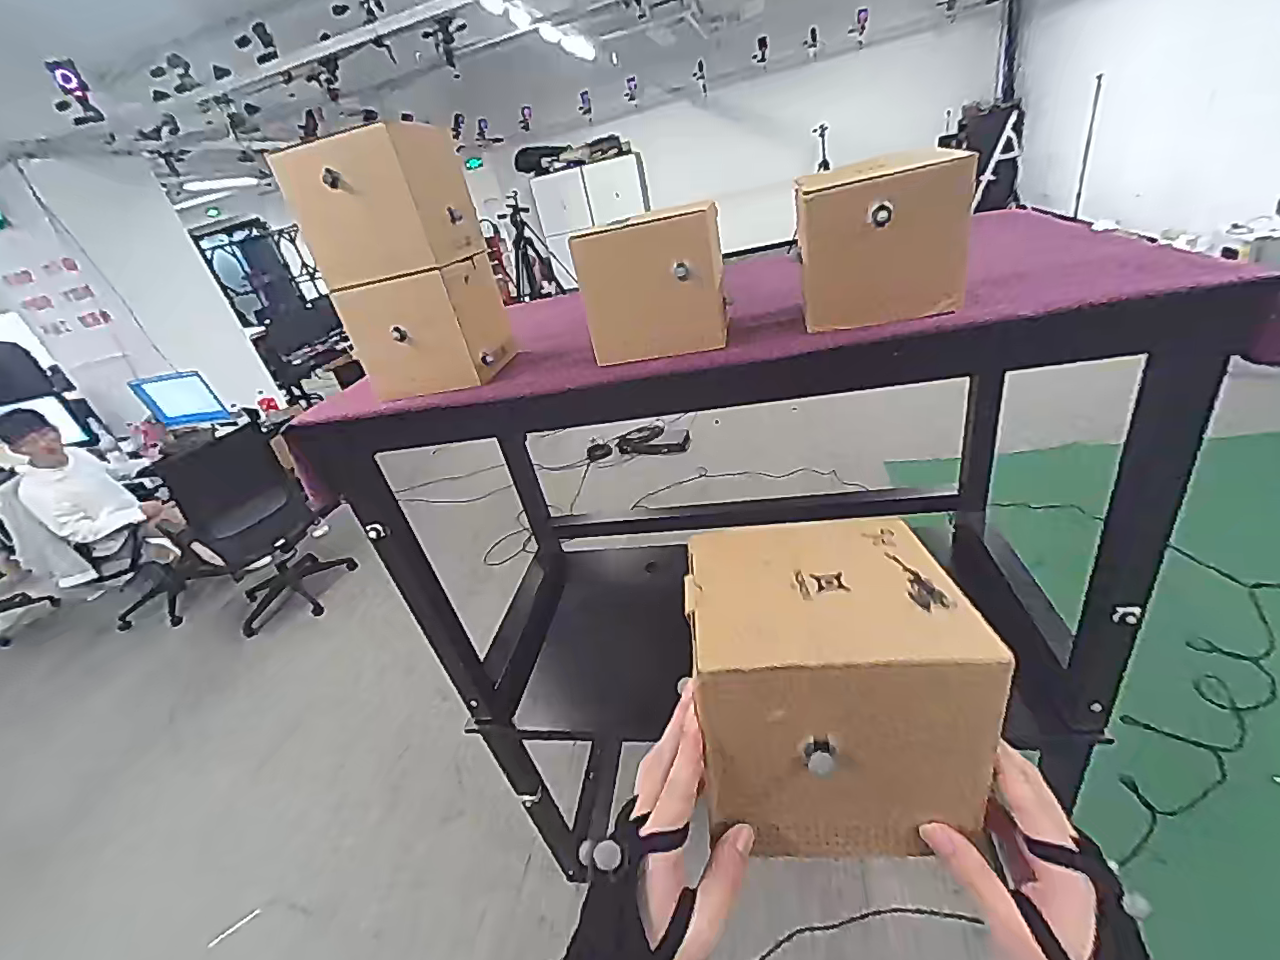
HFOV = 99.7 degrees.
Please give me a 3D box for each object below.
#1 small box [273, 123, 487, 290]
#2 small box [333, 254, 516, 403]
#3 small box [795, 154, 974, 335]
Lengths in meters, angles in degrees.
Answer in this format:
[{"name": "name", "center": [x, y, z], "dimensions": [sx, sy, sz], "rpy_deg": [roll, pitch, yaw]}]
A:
[{"name": "small box", "center": [-0.344, -0.374, 0.753], "dimensions": [0.179, 0.176, 0.168], "rpy_deg": [-5, 30, 14]}, {"name": "small box", "center": [-0.313, -0.232, 0.830], "dimensions": [0.179, 0.176, 0.168], "rpy_deg": [-7, 29, 13]}, {"name": "small box", "center": [0.293, -0.291, 0.678], "dimensions": [0.179, 0.176, 0.168], "rpy_deg": [-4, 32, 16]}]
